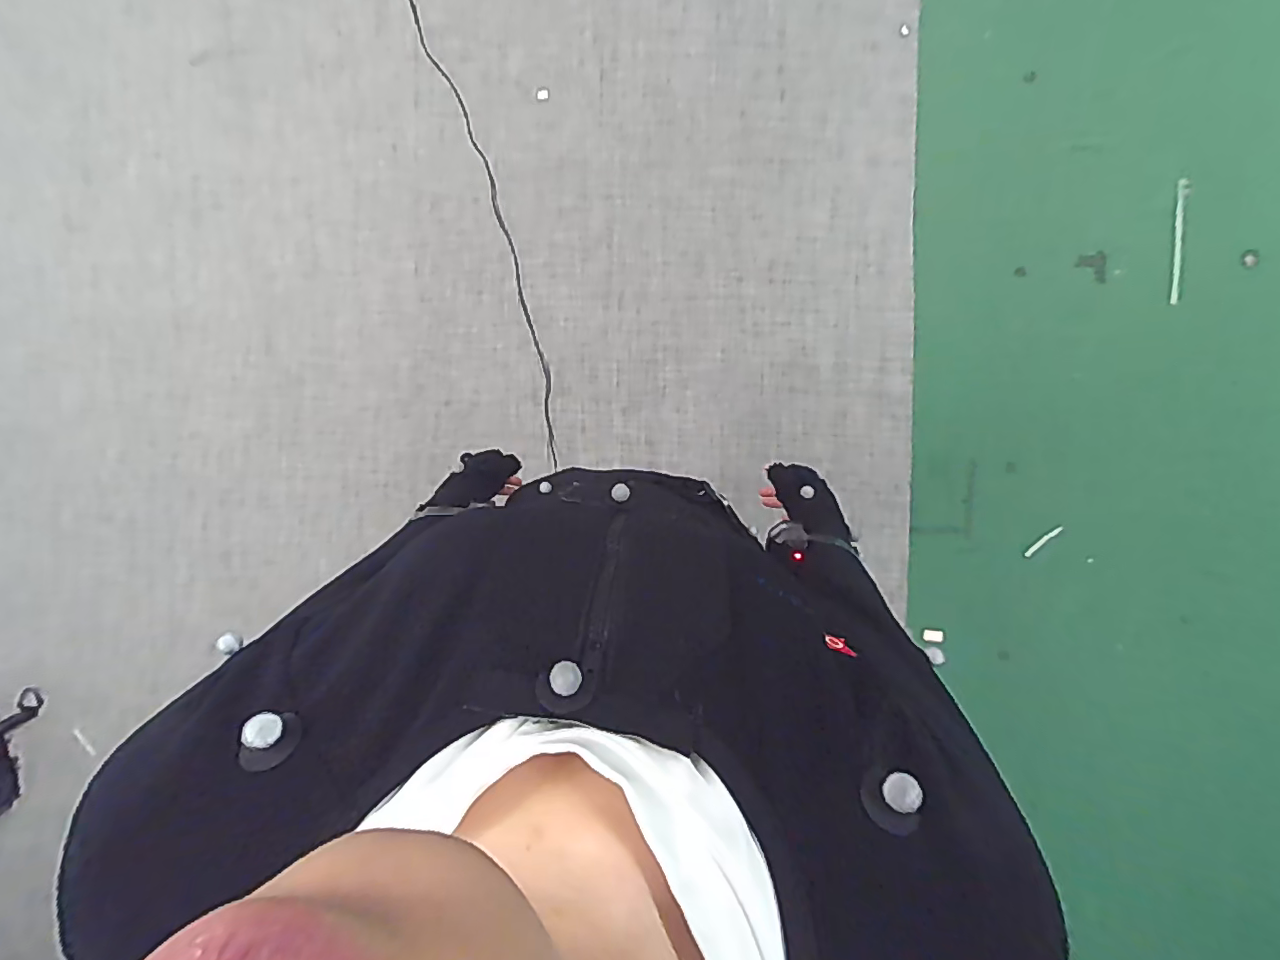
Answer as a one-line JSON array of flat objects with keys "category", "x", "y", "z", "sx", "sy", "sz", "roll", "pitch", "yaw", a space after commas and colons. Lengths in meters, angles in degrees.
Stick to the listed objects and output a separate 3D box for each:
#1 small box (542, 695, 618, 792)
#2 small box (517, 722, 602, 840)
[{"category": "small box", "x": -0.155, "y": 0.675, "z": 1.403, "sx": 0.179, "sy": 0.176, "sz": 0.168, "roll": 3, "pitch": 91, "yaw": 2}, {"category": "small box", "x": -0.179, "y": 0.684, "z": 1.243, "sx": 0.168, "sy": 0.176, "sz": 0.179, "roll": 2, "pitch": 90, "yaw": 2}]
